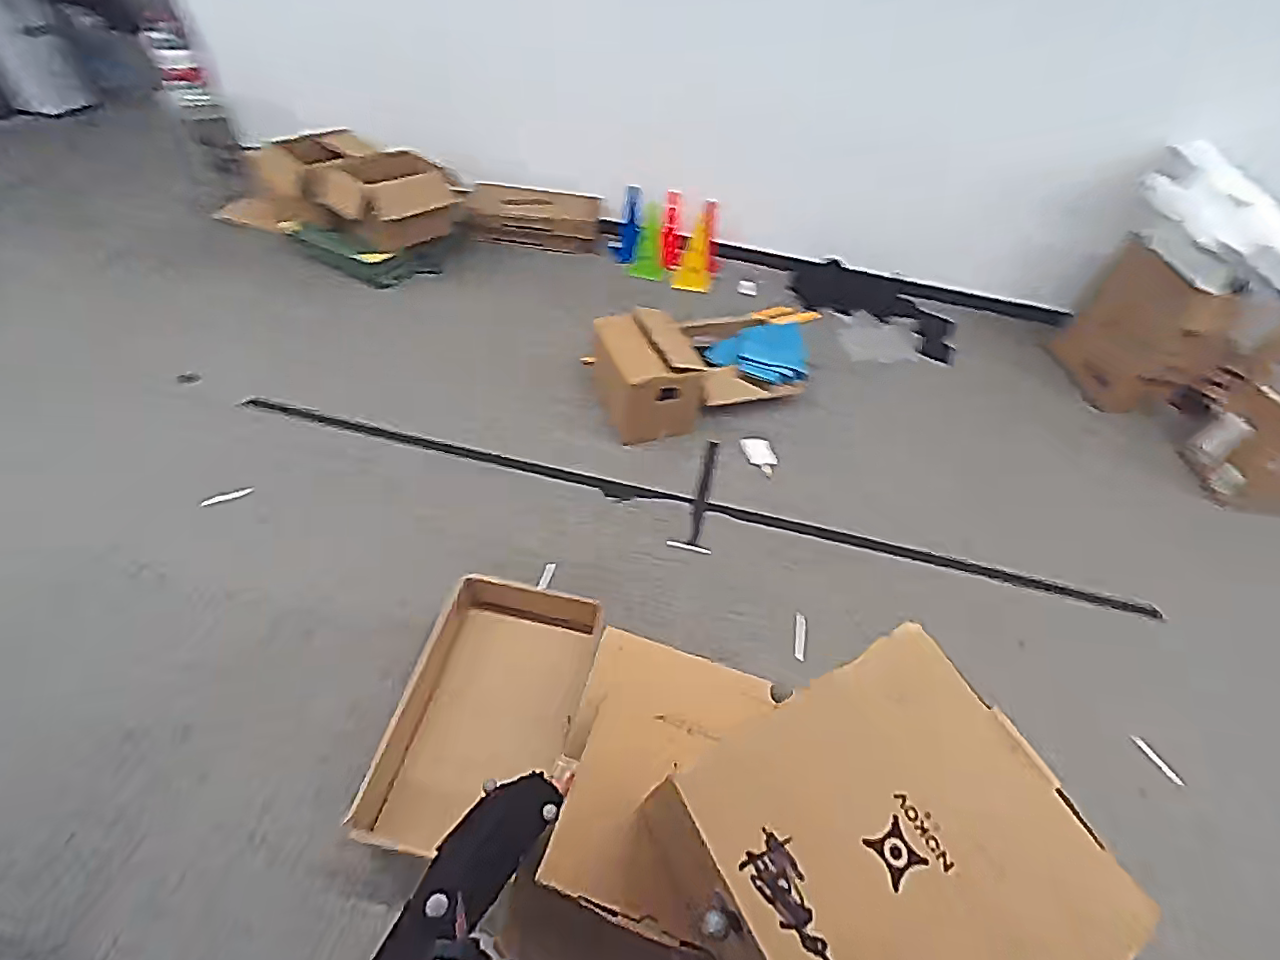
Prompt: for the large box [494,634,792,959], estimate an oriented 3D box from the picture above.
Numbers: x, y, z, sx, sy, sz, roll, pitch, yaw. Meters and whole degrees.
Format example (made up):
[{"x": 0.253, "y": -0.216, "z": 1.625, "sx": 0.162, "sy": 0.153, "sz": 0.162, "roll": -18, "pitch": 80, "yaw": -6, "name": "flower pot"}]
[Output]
[{"x": 0.082, "y": 0.435, "z": 0.661, "sx": 0.408, "sy": 0.320, "sz": 0.320, "roll": 17, "pitch": 56, "yaw": 4, "name": "large box"}]
